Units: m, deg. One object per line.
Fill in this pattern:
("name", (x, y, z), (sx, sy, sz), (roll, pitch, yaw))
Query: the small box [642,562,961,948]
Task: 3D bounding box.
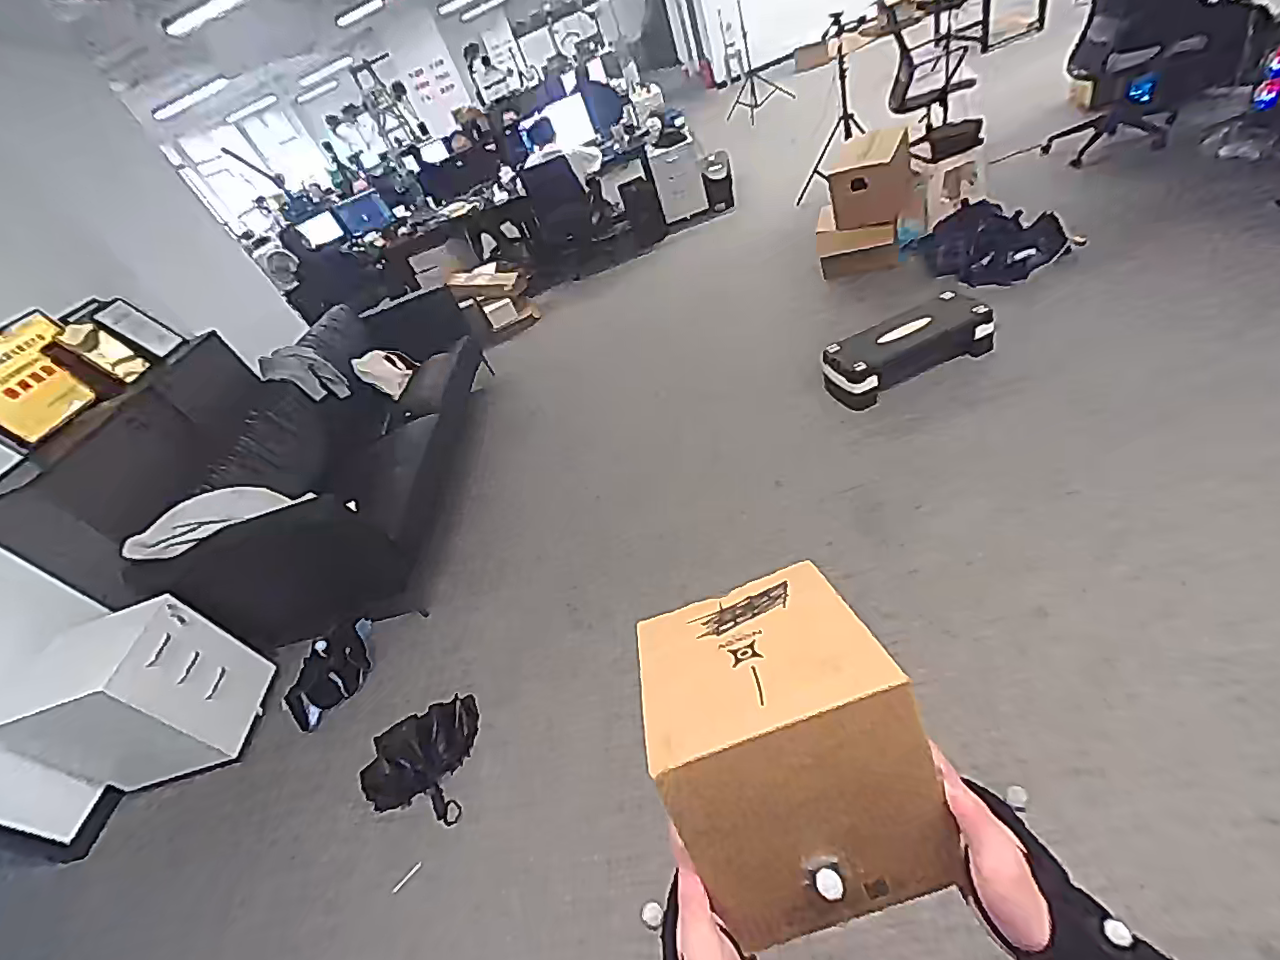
("small box", (0.108, 0.195, 0.418), (0.168, 0.176, 0.179), (-22, 16, 4))
